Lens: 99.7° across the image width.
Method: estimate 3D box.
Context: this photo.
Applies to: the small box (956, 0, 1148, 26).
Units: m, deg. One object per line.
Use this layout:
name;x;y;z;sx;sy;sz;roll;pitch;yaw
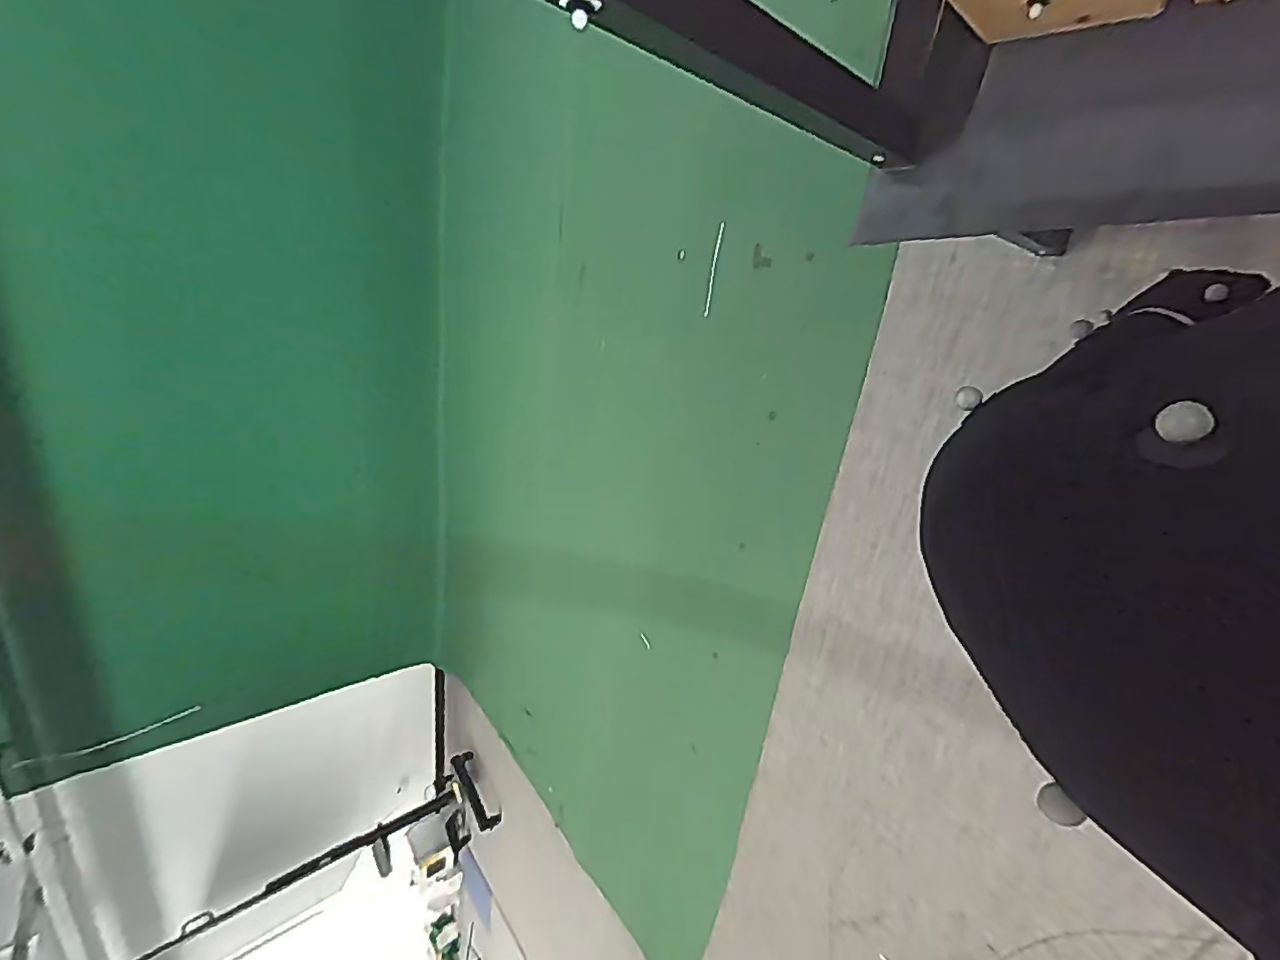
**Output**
small box;0.409;-0.563;0.505;0.168;0.176;0.179;29;119;41
